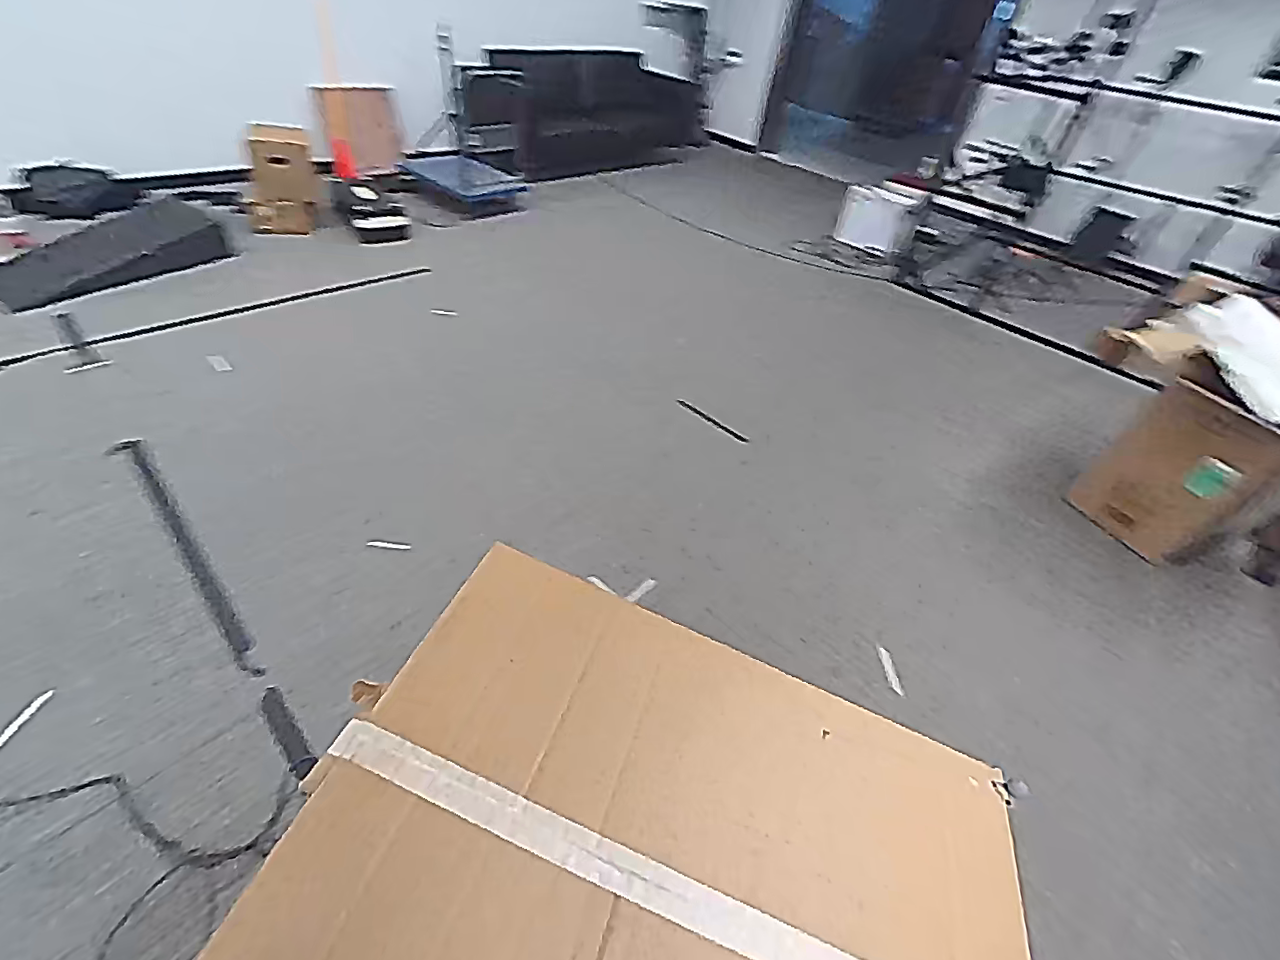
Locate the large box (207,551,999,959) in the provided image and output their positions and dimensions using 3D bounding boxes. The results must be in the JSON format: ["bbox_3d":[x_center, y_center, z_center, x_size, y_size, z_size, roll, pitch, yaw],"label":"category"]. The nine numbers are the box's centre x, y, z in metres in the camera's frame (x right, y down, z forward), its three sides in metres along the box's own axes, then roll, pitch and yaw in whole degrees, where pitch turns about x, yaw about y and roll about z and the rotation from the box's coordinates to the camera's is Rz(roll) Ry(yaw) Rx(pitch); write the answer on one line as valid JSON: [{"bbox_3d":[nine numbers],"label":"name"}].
[{"bbox_3d":[-0.021,0.323,0.411,0.408,0.320,0.320,24,46,2],"label":"large box"}]
